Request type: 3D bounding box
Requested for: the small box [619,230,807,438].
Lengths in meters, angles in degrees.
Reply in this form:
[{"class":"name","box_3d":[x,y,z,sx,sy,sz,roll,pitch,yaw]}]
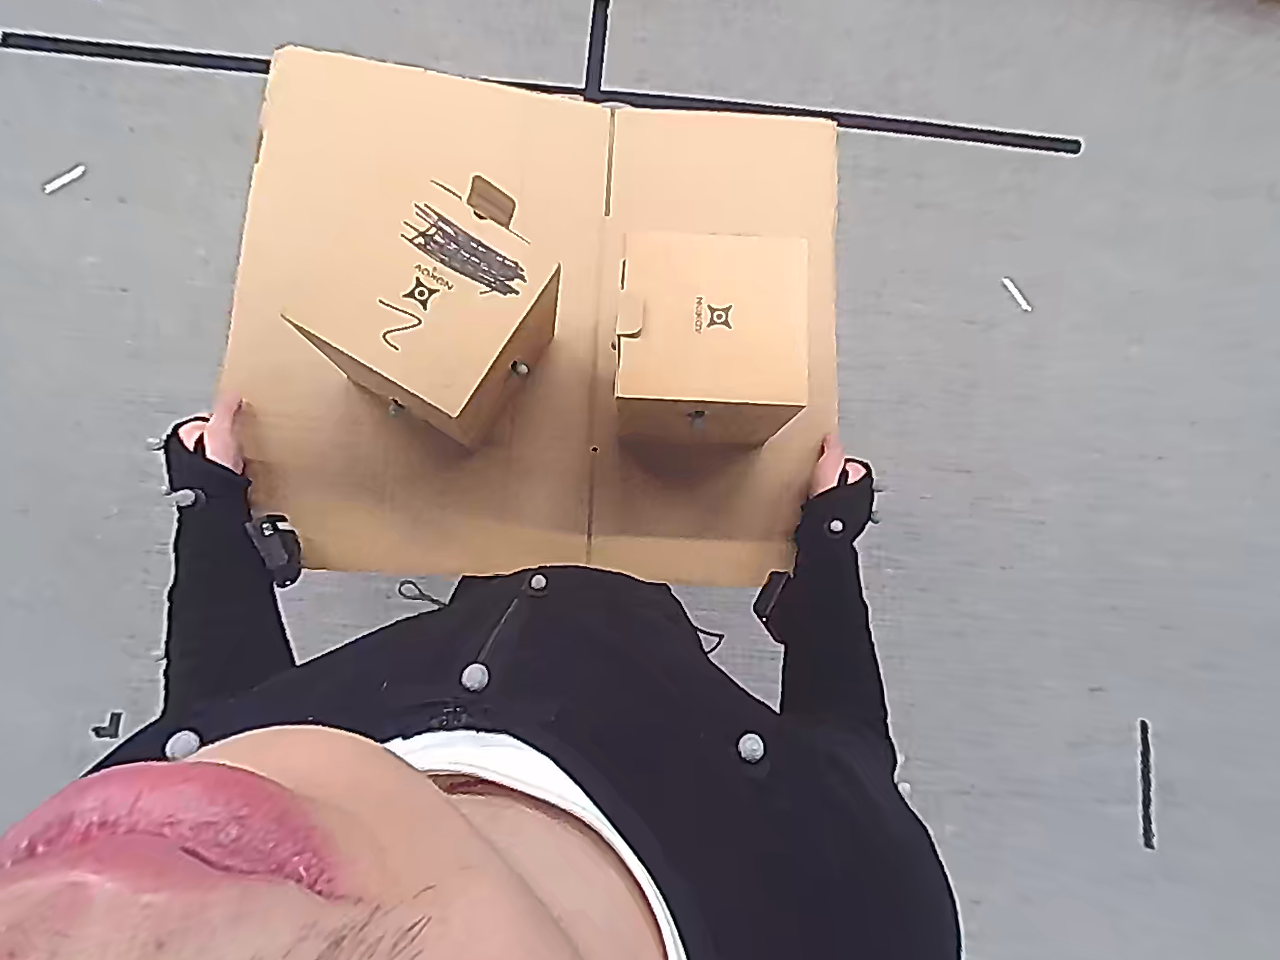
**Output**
[{"class":"small box","box_3d":[0.070,-0.145,0.590,0.179,0.176,0.168,2,82,1]}]
